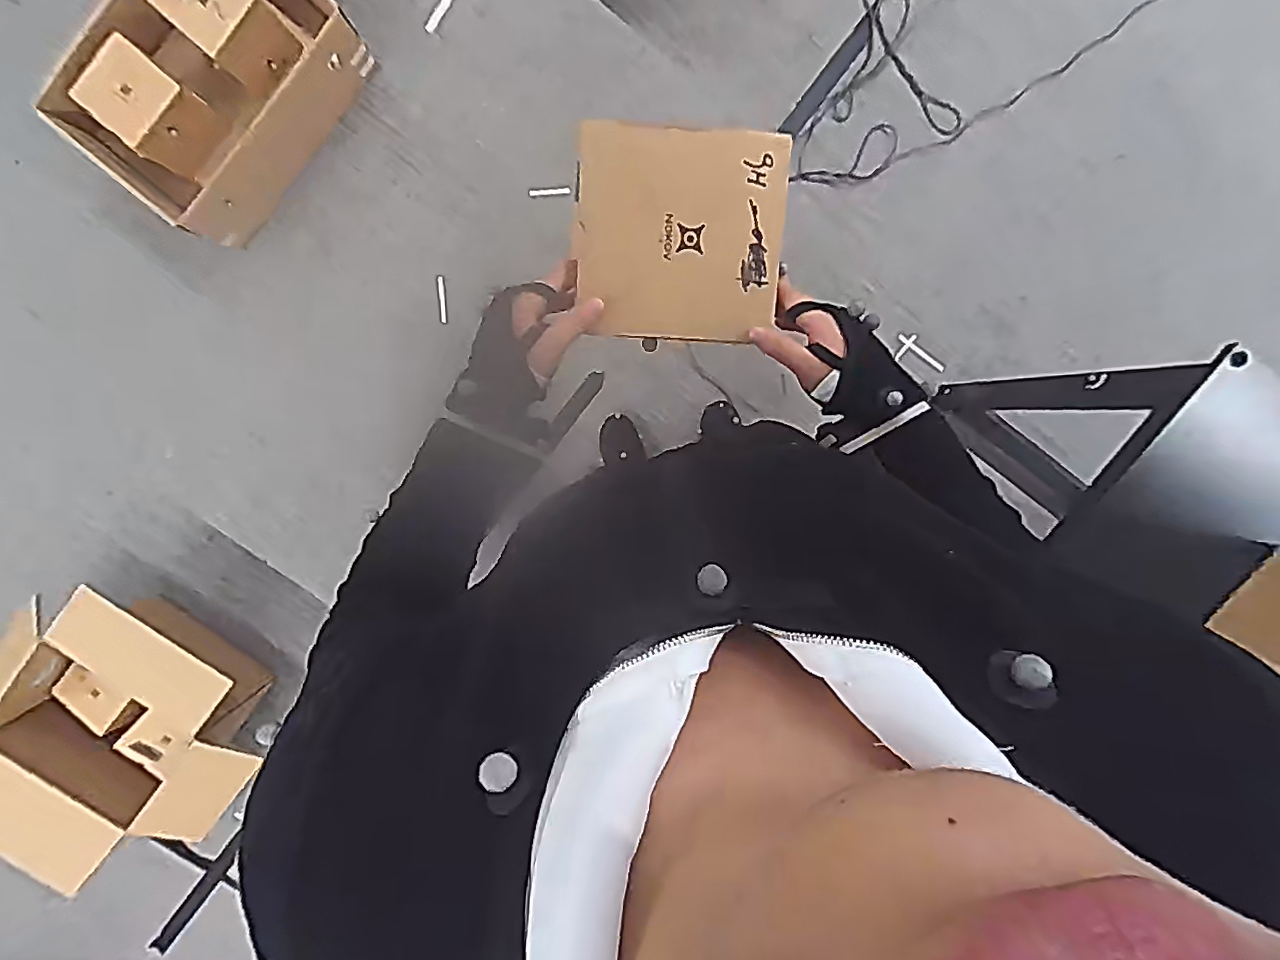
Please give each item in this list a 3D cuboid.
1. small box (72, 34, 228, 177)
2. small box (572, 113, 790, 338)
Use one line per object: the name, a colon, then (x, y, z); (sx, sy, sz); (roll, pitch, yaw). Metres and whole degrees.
small box: (-1.114, -0.849, 1.248); (0.168, 0.176, 0.179); (41, 93, -8)
small box: (0.029, -0.230, 0.533); (0.179, 0.176, 0.168); (2, 104, -3)
